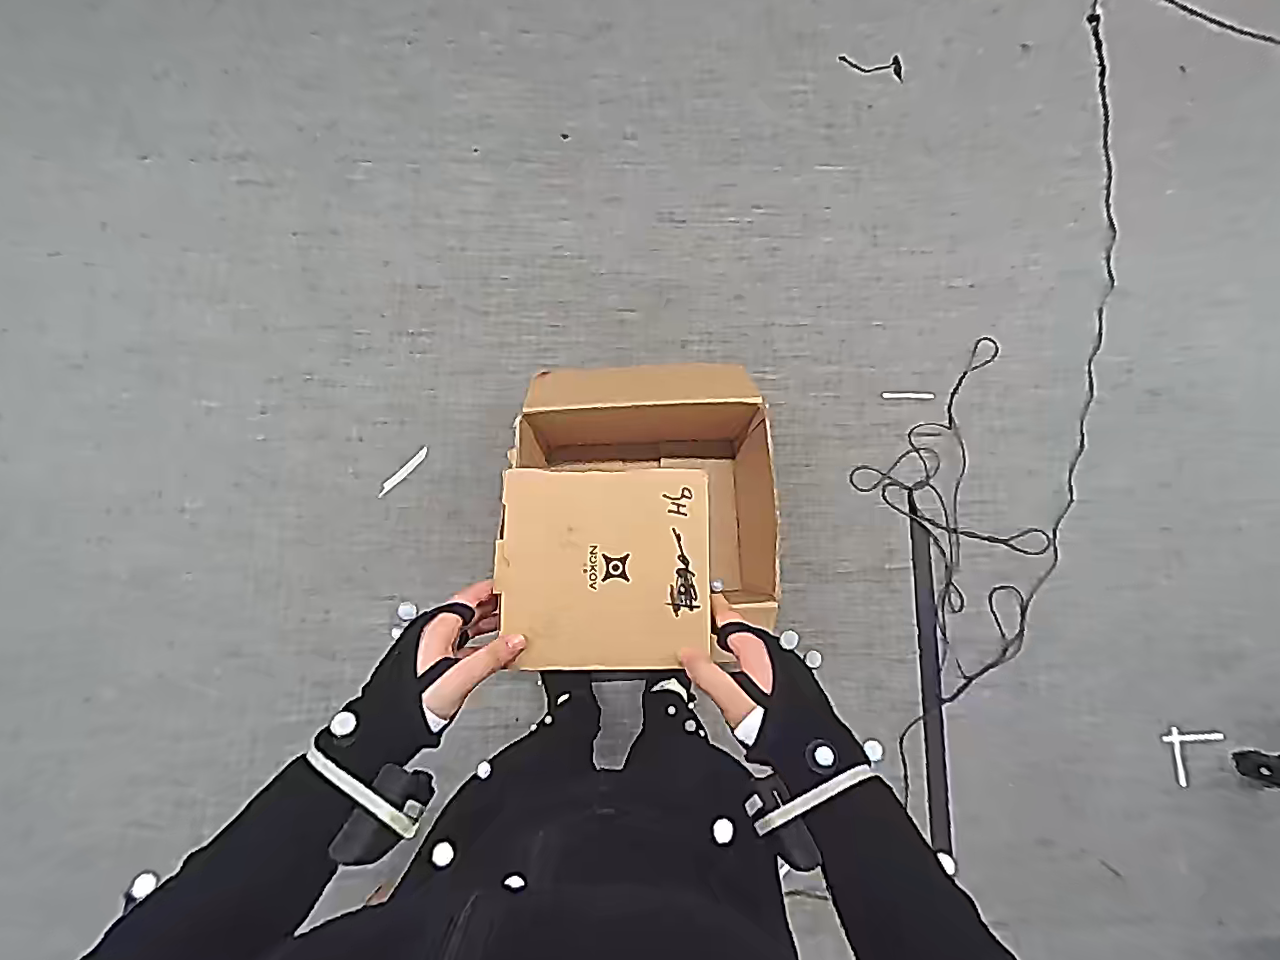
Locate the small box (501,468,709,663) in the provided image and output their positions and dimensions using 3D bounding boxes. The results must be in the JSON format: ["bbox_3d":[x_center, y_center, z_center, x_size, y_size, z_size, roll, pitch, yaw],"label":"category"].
[{"bbox_3d":[-0.029,0.083,0.537,0.179,0.176,0.168,0,82,-1],"label":"small box"}]
